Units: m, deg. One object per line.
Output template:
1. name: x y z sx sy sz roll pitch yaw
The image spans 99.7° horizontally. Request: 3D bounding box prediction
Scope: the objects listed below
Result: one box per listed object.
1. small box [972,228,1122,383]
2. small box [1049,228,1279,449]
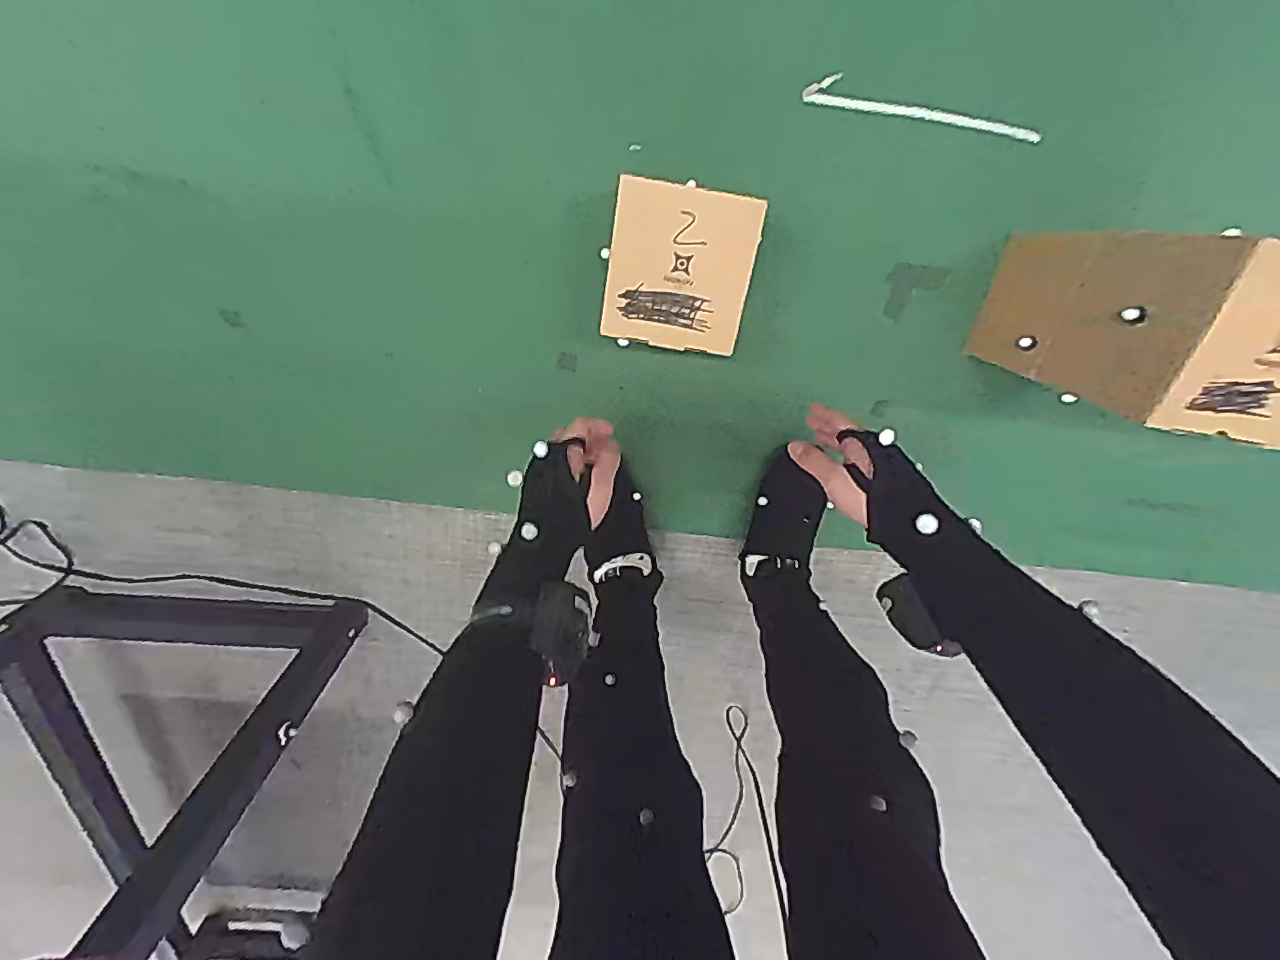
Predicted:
1. small box: 0.585 -0.227 0.716 0.168 0.176 0.179 8 116 -5
2. small box: 0.586 -0.155 0.569 0.168 0.176 0.179 9 116 -6
